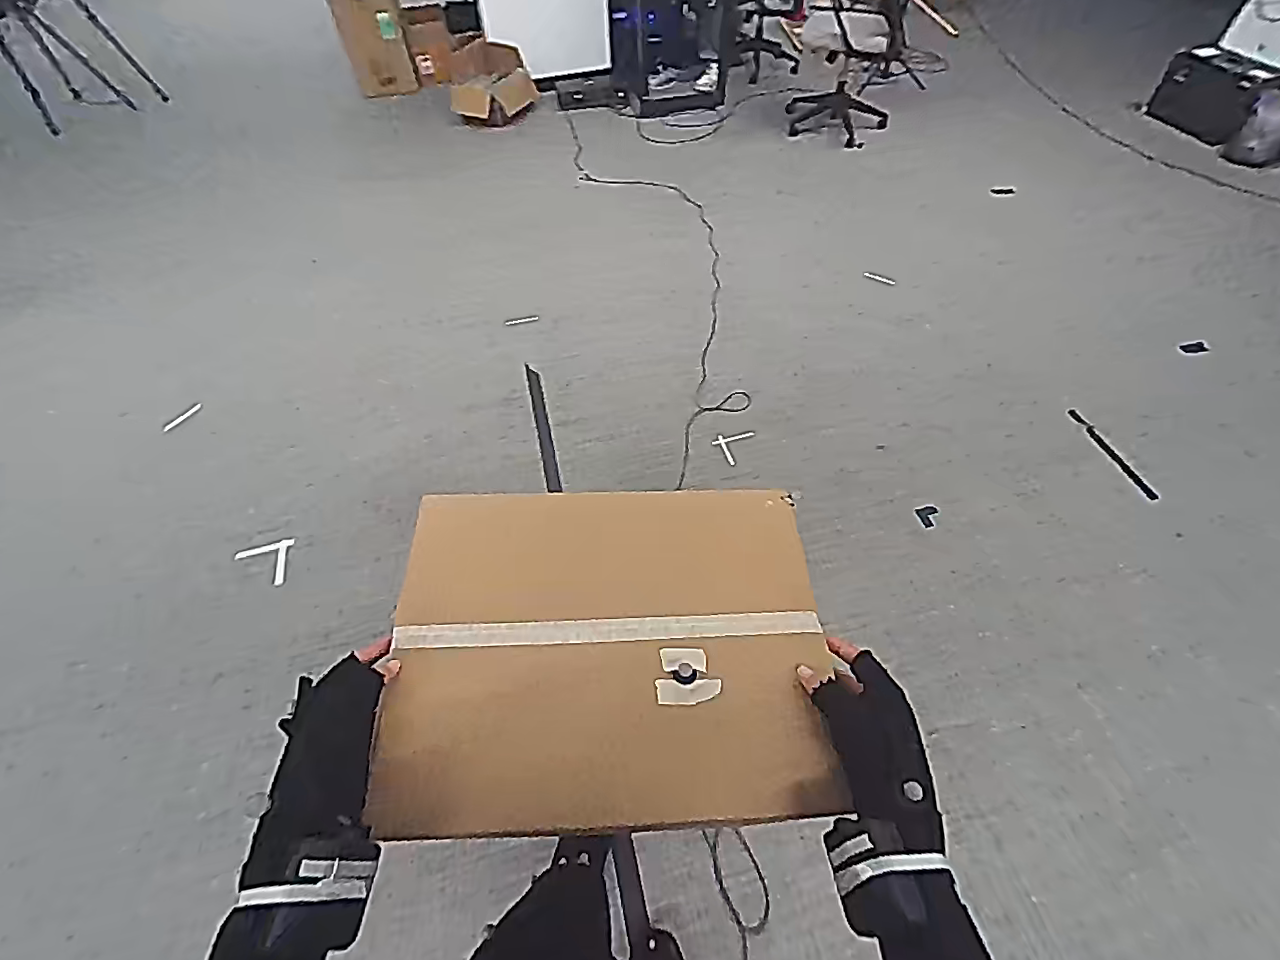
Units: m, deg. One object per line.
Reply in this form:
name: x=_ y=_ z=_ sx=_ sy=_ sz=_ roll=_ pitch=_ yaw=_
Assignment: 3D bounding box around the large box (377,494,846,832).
large box: x=-0.033 y=0.229 z=0.656 sx=0.408 sy=0.320 sz=0.320 roll=0 pitch=56 yaw=-3
